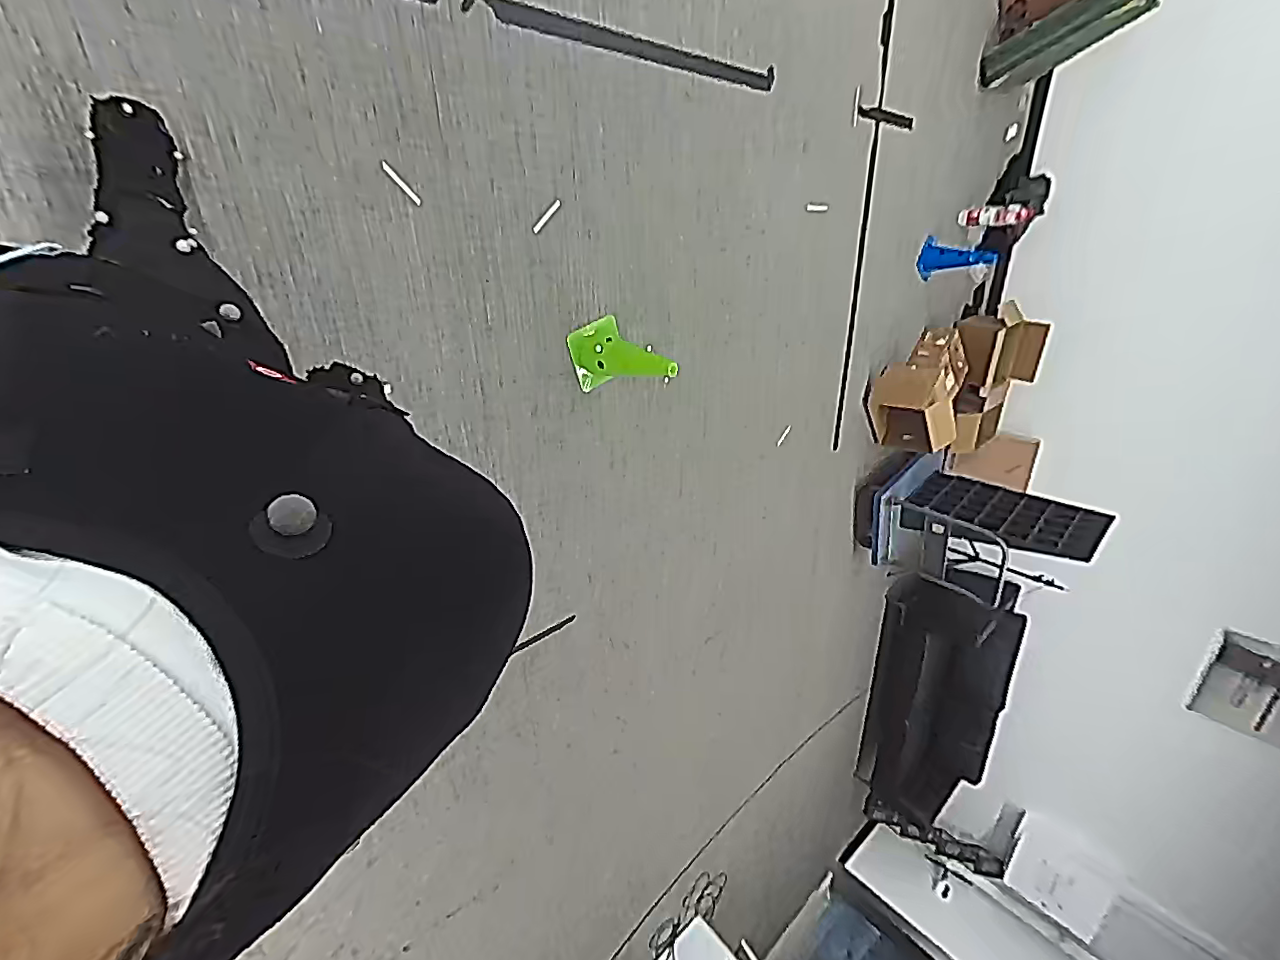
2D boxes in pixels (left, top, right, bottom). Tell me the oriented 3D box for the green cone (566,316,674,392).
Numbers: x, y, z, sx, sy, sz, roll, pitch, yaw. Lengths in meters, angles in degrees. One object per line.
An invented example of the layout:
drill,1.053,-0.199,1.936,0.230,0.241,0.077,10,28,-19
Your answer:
green cone,-0.030,-0.362,1.643,0.202,0.368,0.200,-35,127,-27
